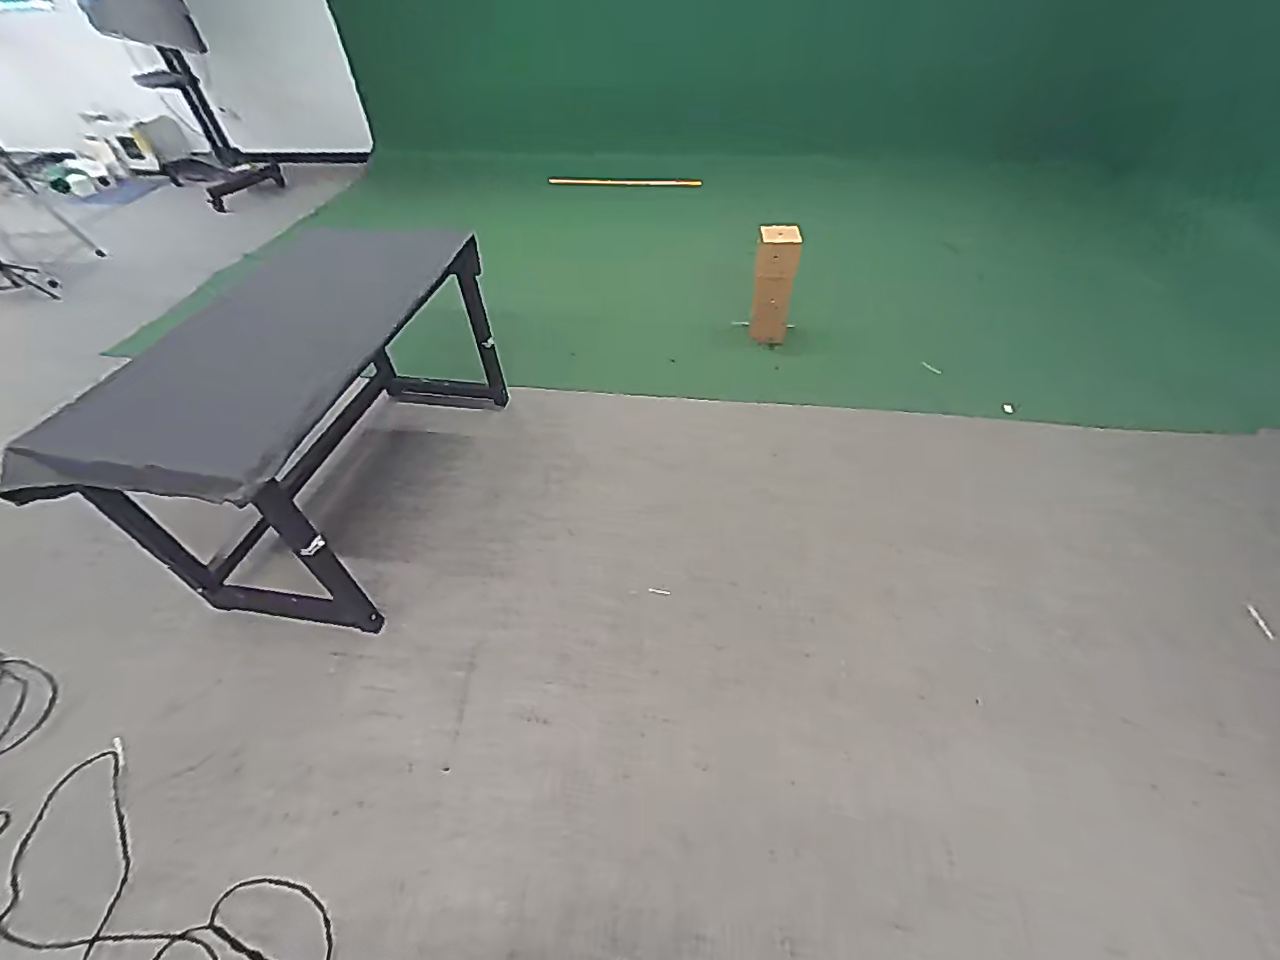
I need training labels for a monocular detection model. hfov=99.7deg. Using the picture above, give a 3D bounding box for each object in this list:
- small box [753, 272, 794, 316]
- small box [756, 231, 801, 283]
[{"bbox_3d":[0.631,-0.900,2.575,0.168,0.176,0.179,3,46,6],"label":"small box"},{"bbox_3d":[0.626,-1.010,2.456,0.168,0.176,0.179,1,45,4],"label":"small box"}]
